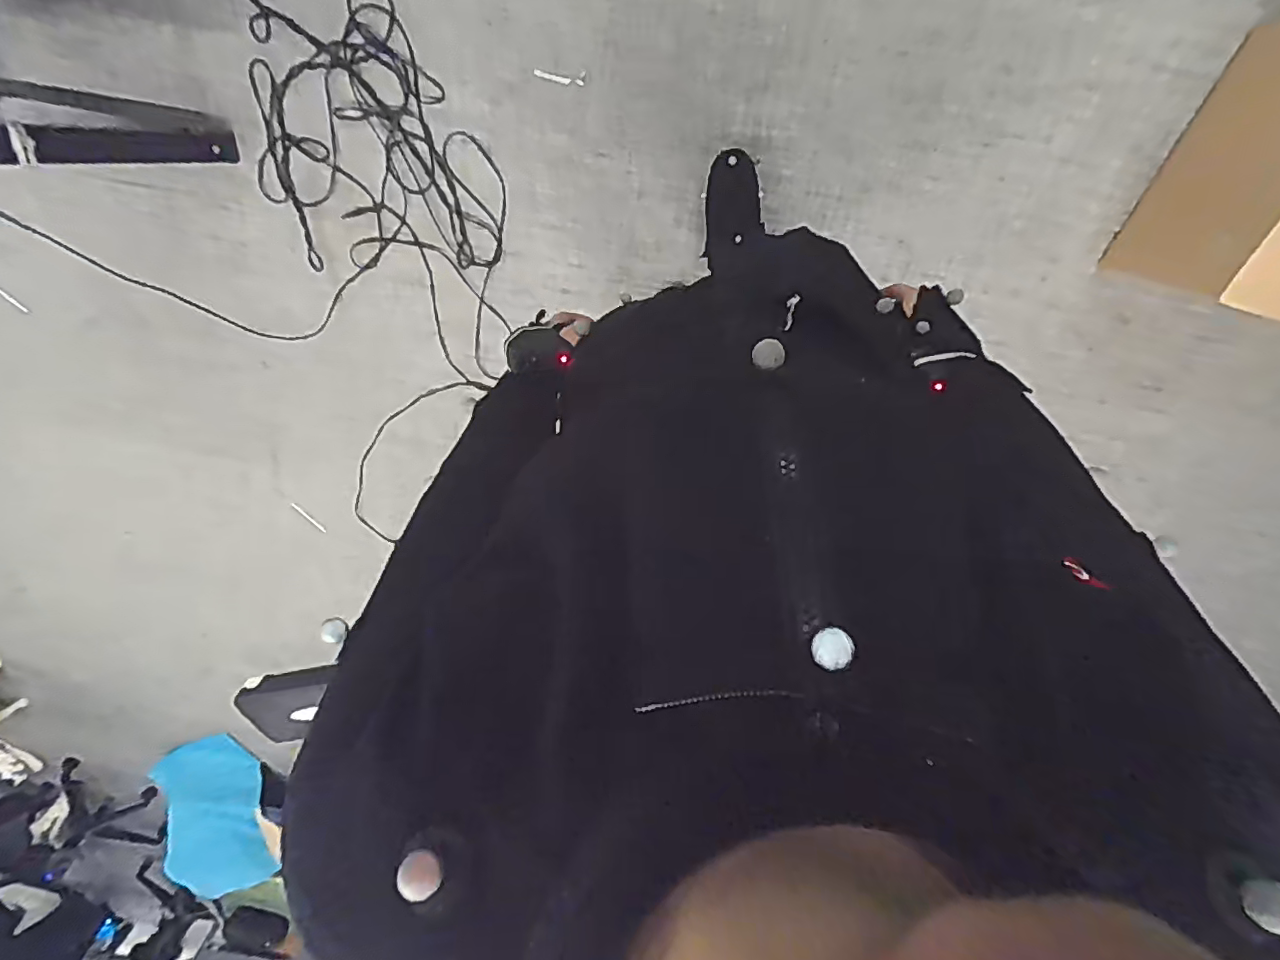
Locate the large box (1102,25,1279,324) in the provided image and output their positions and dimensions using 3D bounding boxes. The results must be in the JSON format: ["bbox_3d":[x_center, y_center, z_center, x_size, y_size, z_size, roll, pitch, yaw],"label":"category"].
[{"bbox_3d":[1.125,-0.490,0.898,0.320,0.320,0.408,14,122,-1],"label":"large box"}]
